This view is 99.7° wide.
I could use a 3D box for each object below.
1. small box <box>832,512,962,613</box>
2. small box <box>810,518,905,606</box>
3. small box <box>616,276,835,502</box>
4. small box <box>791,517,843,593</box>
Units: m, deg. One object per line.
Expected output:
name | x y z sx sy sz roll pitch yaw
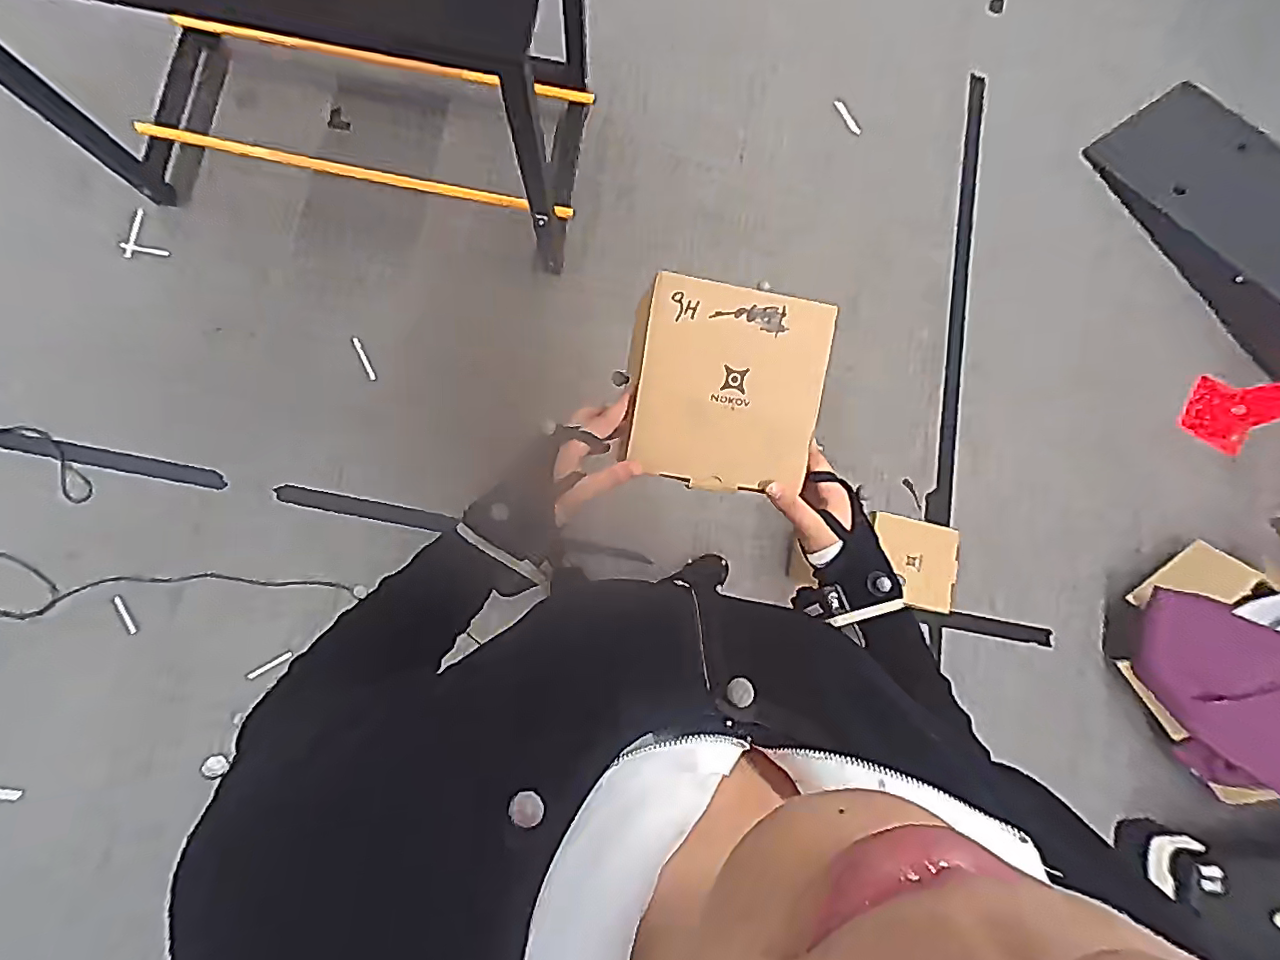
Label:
small box | 0.528 0.170 1.131 0.179 0.176 0.168 13 81 0
small box | 0.533 0.193 1.292 0.179 0.176 0.168 13 82 -1
small box | 0.070 -0.089 0.554 0.168 0.176 0.179 8 98 -8
small box | 0.521 0.206 1.456 0.168 0.176 0.179 14 83 -1
